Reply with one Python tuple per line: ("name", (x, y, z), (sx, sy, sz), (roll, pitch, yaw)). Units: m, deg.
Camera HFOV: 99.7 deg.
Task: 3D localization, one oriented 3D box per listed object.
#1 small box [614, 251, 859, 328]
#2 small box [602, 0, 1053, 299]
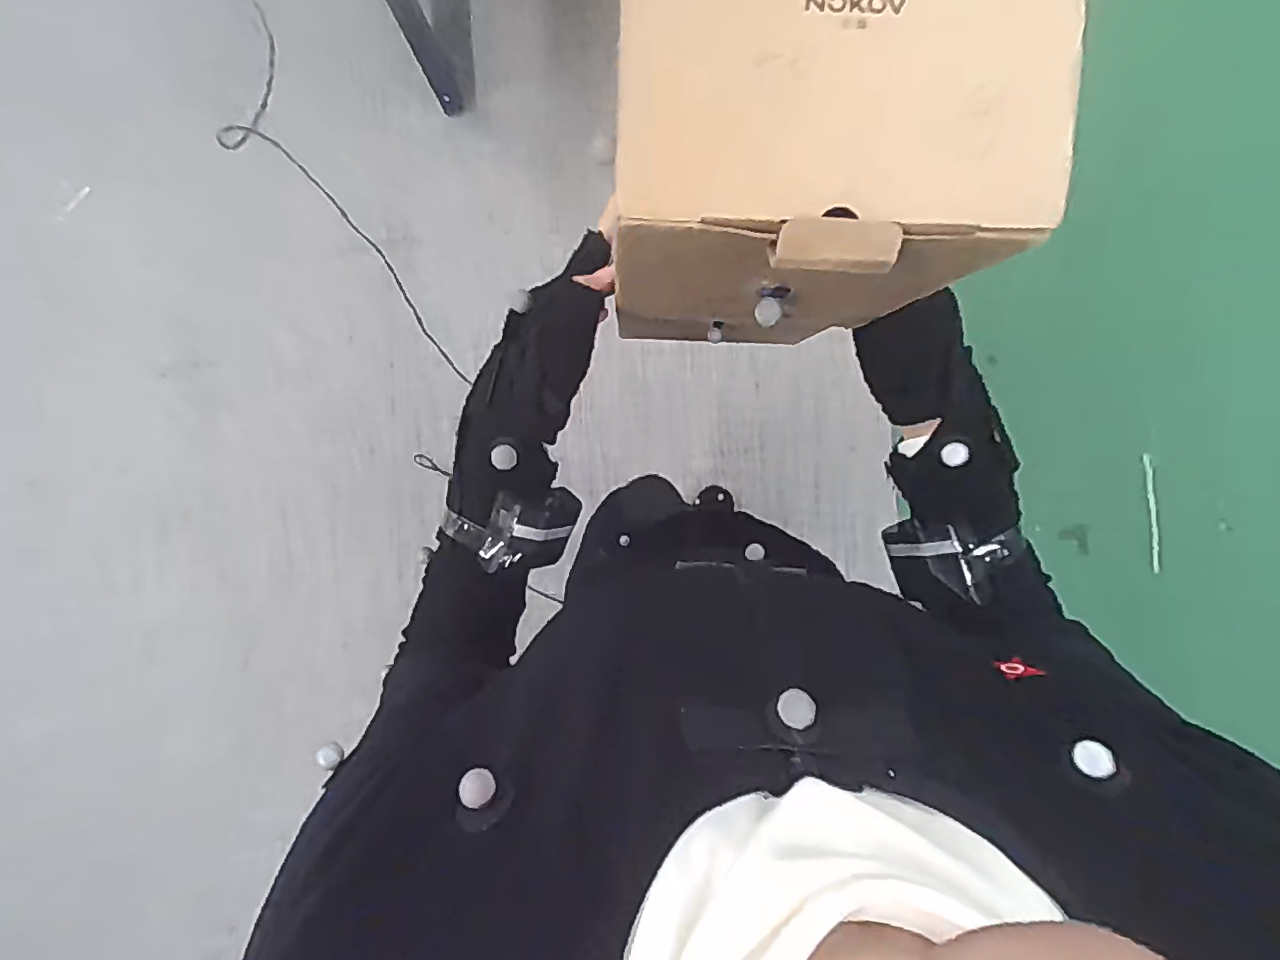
("small box", (0.070, -0.222, 0.439), (0.179, 0.176, 0.168), (2, 96, -1))
("small box", (0.070, -0.198, 0.277), (0.168, 0.176, 0.179), (2, 96, -1))
